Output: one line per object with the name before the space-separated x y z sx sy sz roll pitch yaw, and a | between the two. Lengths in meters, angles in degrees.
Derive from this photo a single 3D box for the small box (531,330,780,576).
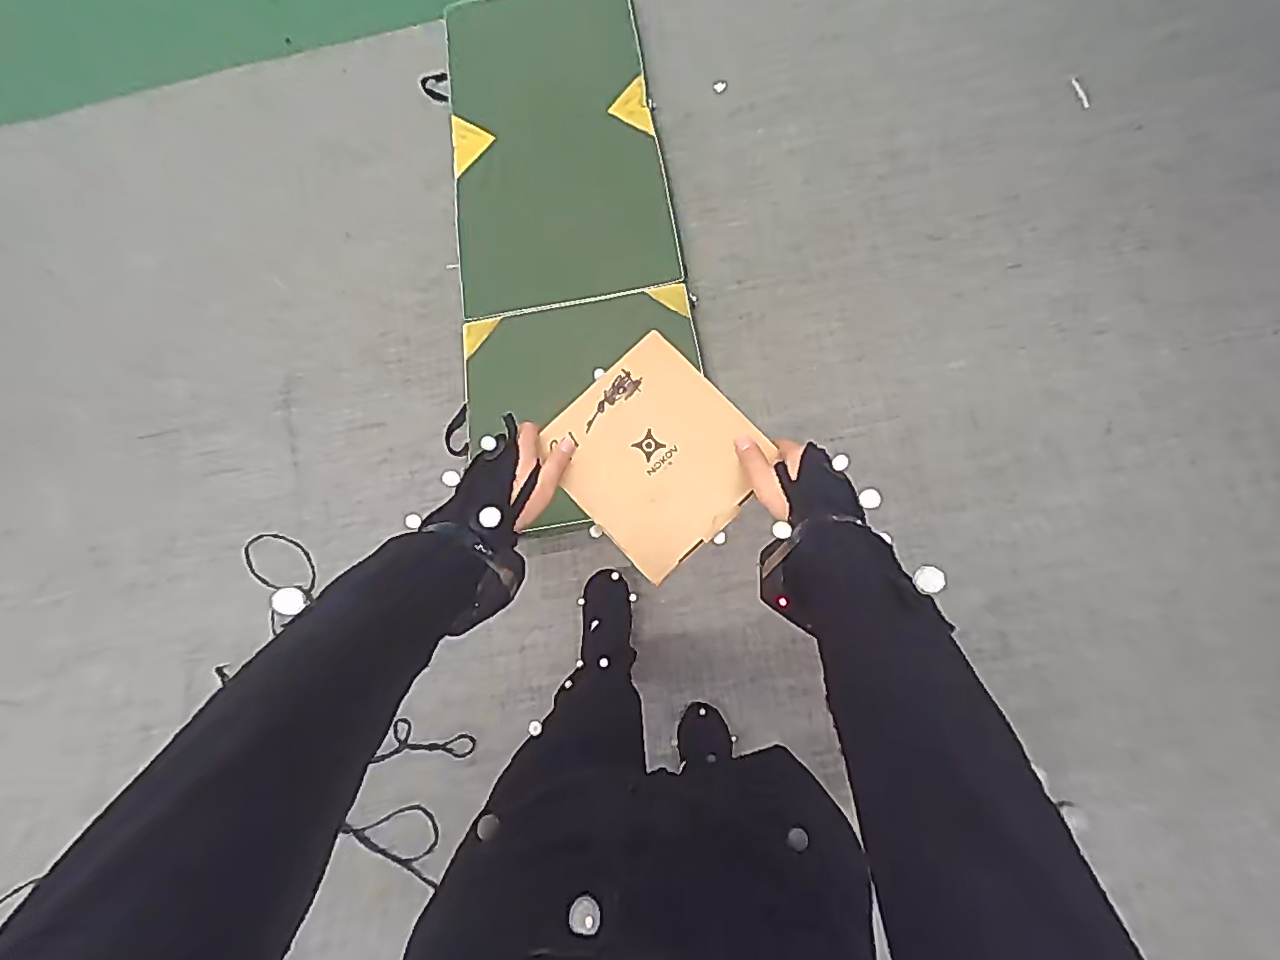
small box | 0.016 -0.019 0.577 0.168 0.176 0.179 -43 83 -5
